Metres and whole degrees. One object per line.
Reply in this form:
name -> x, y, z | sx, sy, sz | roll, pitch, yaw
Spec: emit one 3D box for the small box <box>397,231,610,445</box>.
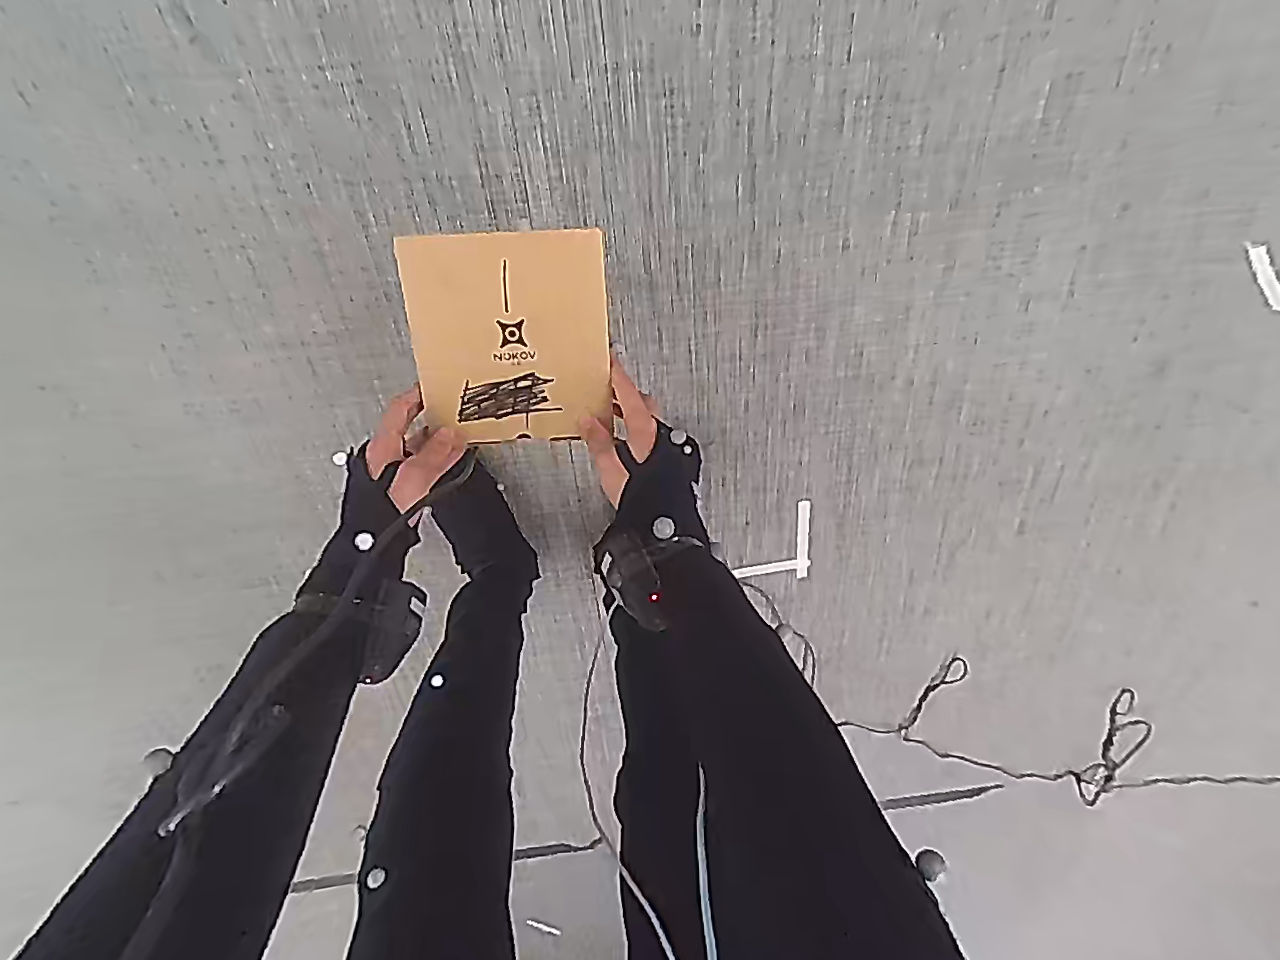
small box -> -0.114, -0.144, 0.533 | 0.168, 0.176, 0.179 | -3, 110, -3
